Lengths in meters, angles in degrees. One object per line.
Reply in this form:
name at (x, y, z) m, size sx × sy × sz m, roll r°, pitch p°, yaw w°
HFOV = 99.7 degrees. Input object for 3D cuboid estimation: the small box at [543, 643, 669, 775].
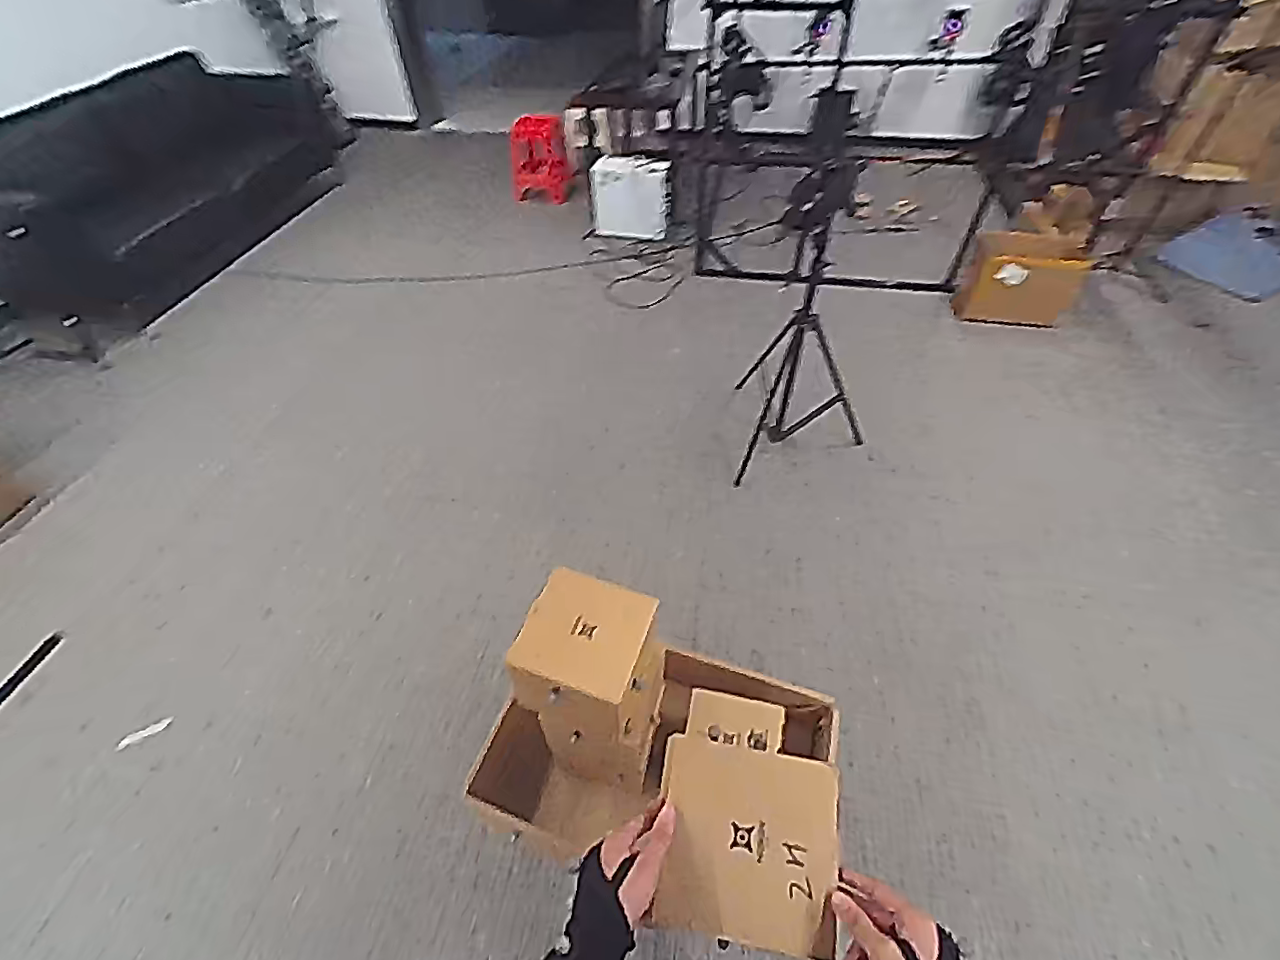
small box at (-0.055, 0.383, 0.947) m, size 0.168 × 0.176 × 0.179 m, roll 13°, pitch 49°, yaw 11°

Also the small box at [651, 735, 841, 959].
small box at (0.110, 0.393, 0.603) m, size 0.179 × 0.176 × 0.168 m, roll 9°, pitch 64°, yaw 4°

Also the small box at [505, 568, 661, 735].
small box at (-0.078, 0.268, 0.831) m, size 0.179 × 0.176 × 0.168 m, roll 15°, pitch 50°, yaw 13°
